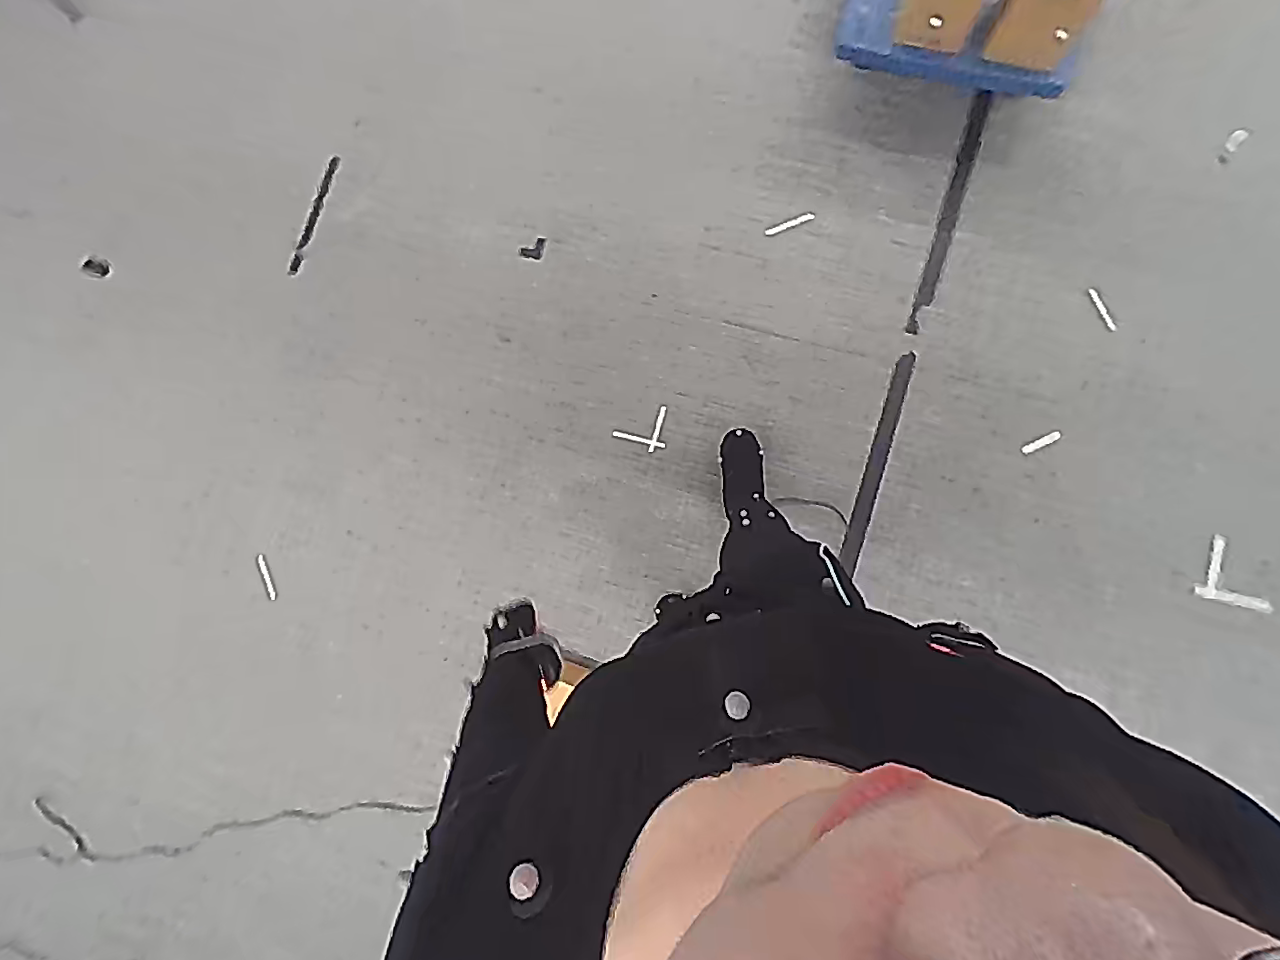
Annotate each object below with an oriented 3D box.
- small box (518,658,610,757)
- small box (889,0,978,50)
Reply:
[{"bbox_3d":[-0.192,0.589,1.426,0.179,0.176,0.168,18,88,8],"label":"small box"},{"bbox_3d":[0.716,-1.178,1.286,0.168,0.176,0.179,15,86,6],"label":"small box"}]
